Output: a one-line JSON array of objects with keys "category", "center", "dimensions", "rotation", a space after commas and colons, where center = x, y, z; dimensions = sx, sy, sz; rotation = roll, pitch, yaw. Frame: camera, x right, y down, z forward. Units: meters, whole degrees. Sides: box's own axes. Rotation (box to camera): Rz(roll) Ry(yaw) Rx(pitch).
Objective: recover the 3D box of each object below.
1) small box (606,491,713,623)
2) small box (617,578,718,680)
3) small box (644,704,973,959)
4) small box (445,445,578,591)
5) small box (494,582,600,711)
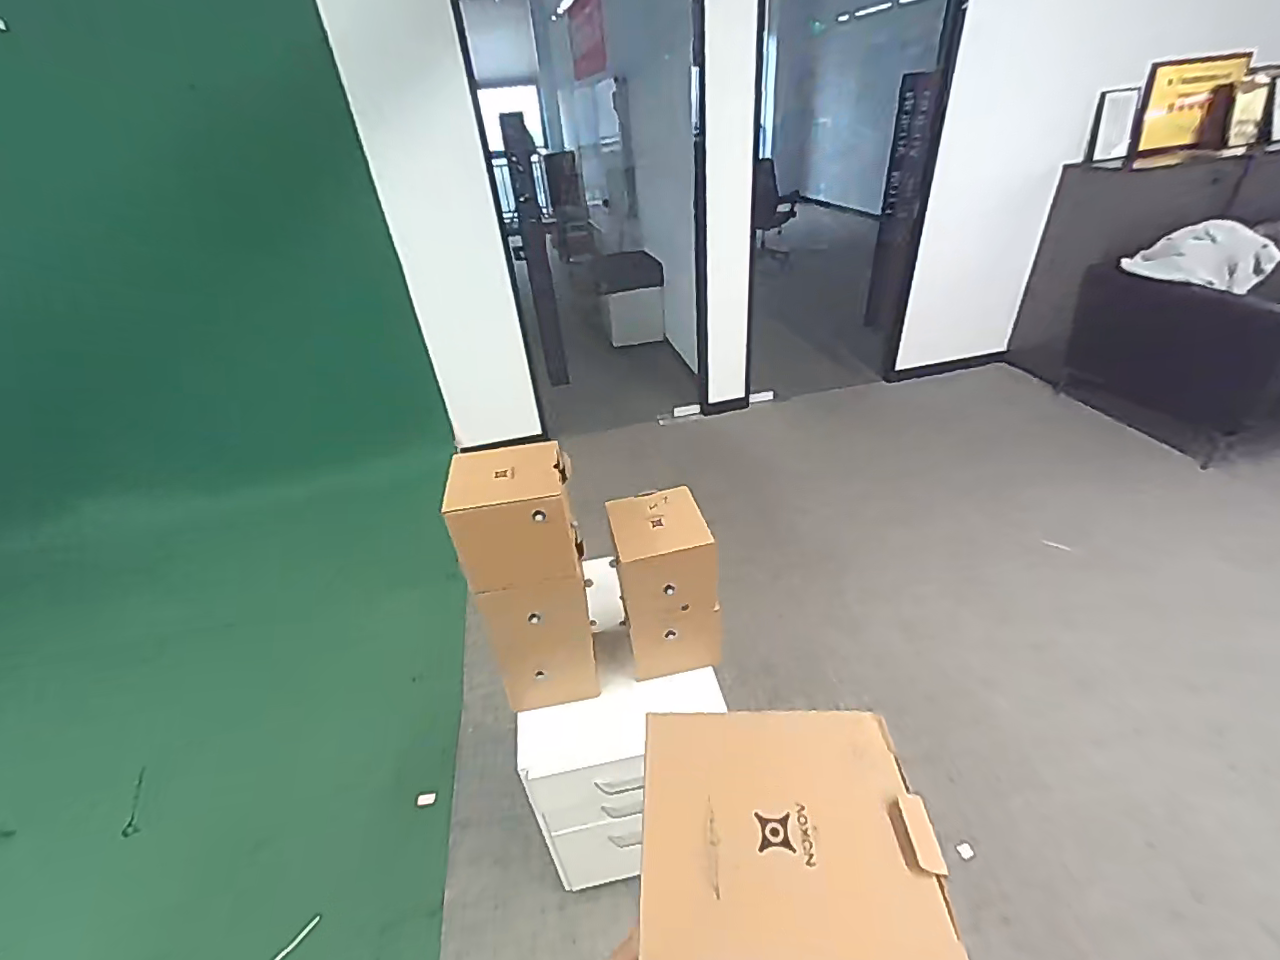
[{"category": "small box", "center": [0.038, 0.149, 1.024], "dimensions": [0.168, 0.176, 0.179], "rotation": [-11, 35, -8]}, {"category": "small box", "center": [0.058, 0.286, 1.114], "dimensions": [0.179, 0.176, 0.168], "rotation": [-10, 35, -6]}, {"category": "small box", "center": [0.097, 0.285, 0.389], "dimensions": [0.179, 0.176, 0.168], "rotation": [-3, 32, 4]}, {"category": "small box", "center": [-0.204, 0.064, 0.892], "dimensions": [0.179, 0.176, 0.168], "rotation": [-8, 34, -7]}, {"category": "small box", "center": [-0.182, 0.333, 1.076], "dimensions": [0.179, 0.176, 0.168], "rotation": [-8, 35, -6]}]
